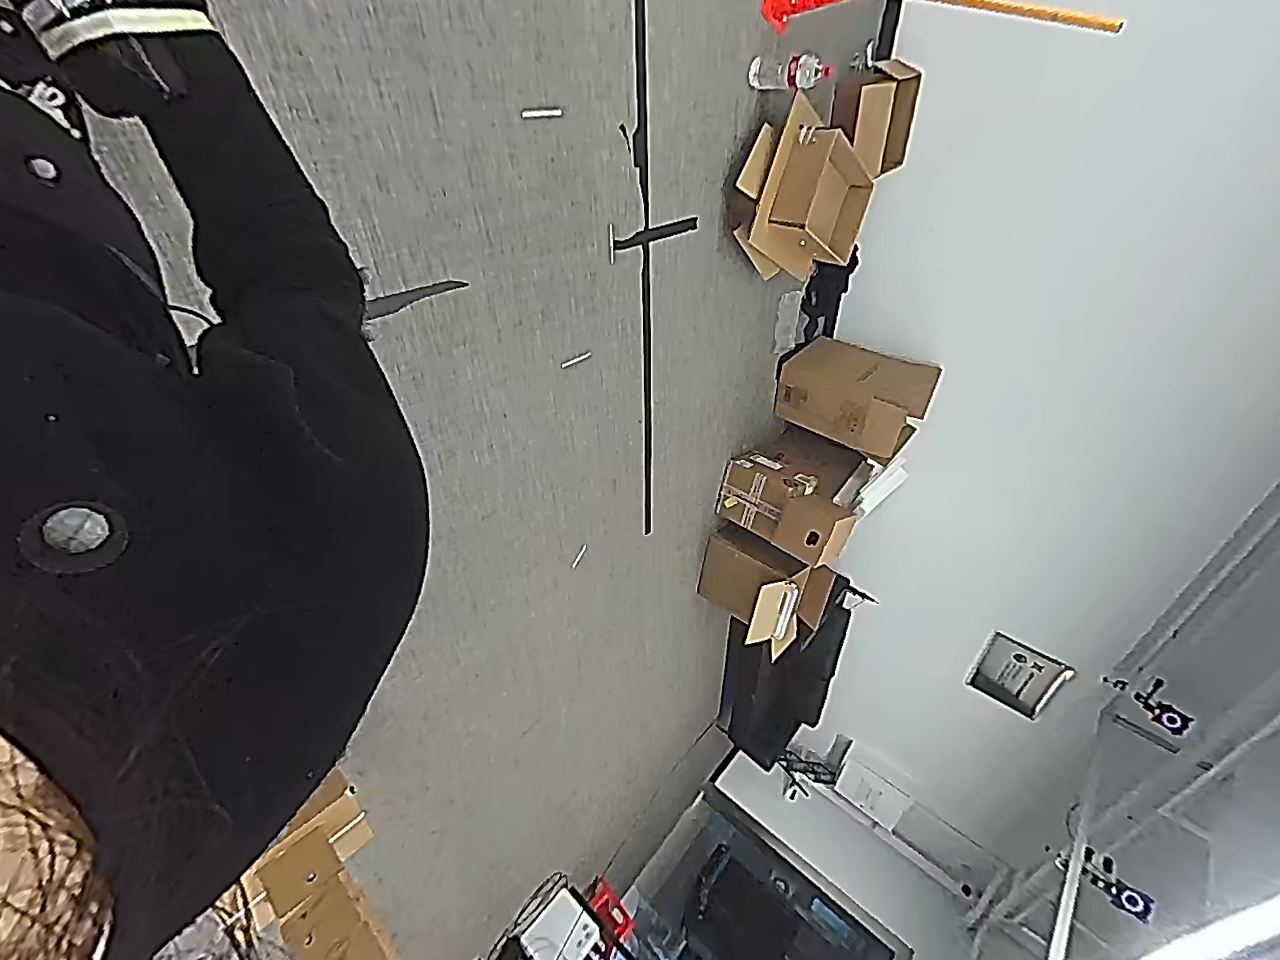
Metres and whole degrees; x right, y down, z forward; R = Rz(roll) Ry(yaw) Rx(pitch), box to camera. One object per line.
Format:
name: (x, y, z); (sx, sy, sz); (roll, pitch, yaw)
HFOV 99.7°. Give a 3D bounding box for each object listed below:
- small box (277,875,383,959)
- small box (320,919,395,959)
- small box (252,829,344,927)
small box: (-0.858, 1.243, 1.496); (0.168, 0.176, 0.179); (-40, 143, -30)
small box: (-0.739, 1.308, 1.404); (0.179, 0.176, 0.168); (-35, 139, -35)
small box: (-0.983, 1.169, 1.570); (0.179, 0.176, 0.168); (-27, 133, -42)
